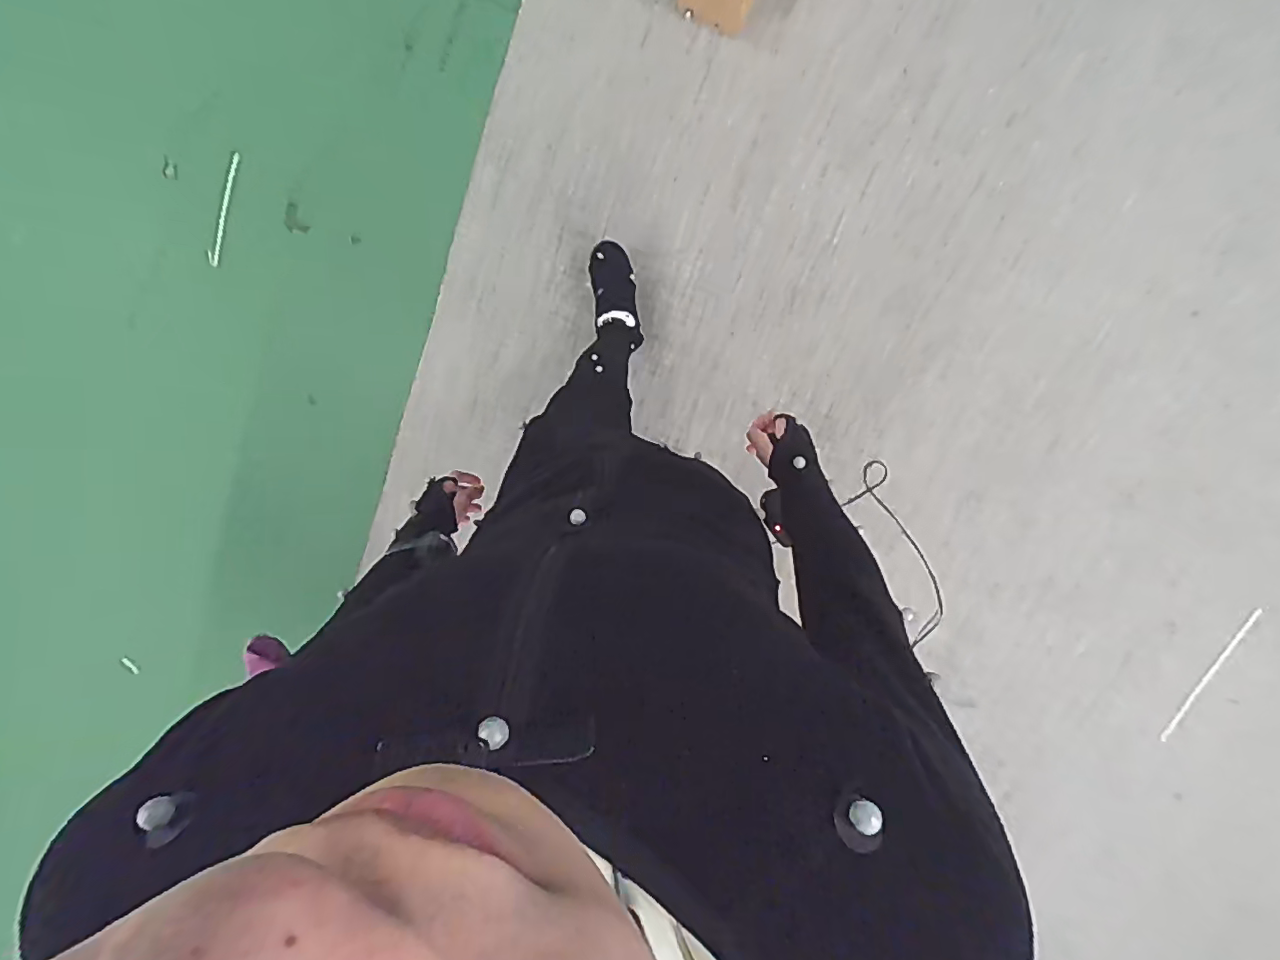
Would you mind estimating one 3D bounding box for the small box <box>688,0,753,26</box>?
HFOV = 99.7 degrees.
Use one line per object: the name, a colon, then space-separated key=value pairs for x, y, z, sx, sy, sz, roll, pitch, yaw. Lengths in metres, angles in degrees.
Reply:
small box: x=0.199 y=-1.182 z=1.213 sx=0.168 sy=0.176 sz=0.179 roll=24 pitch=104 yaw=-1
